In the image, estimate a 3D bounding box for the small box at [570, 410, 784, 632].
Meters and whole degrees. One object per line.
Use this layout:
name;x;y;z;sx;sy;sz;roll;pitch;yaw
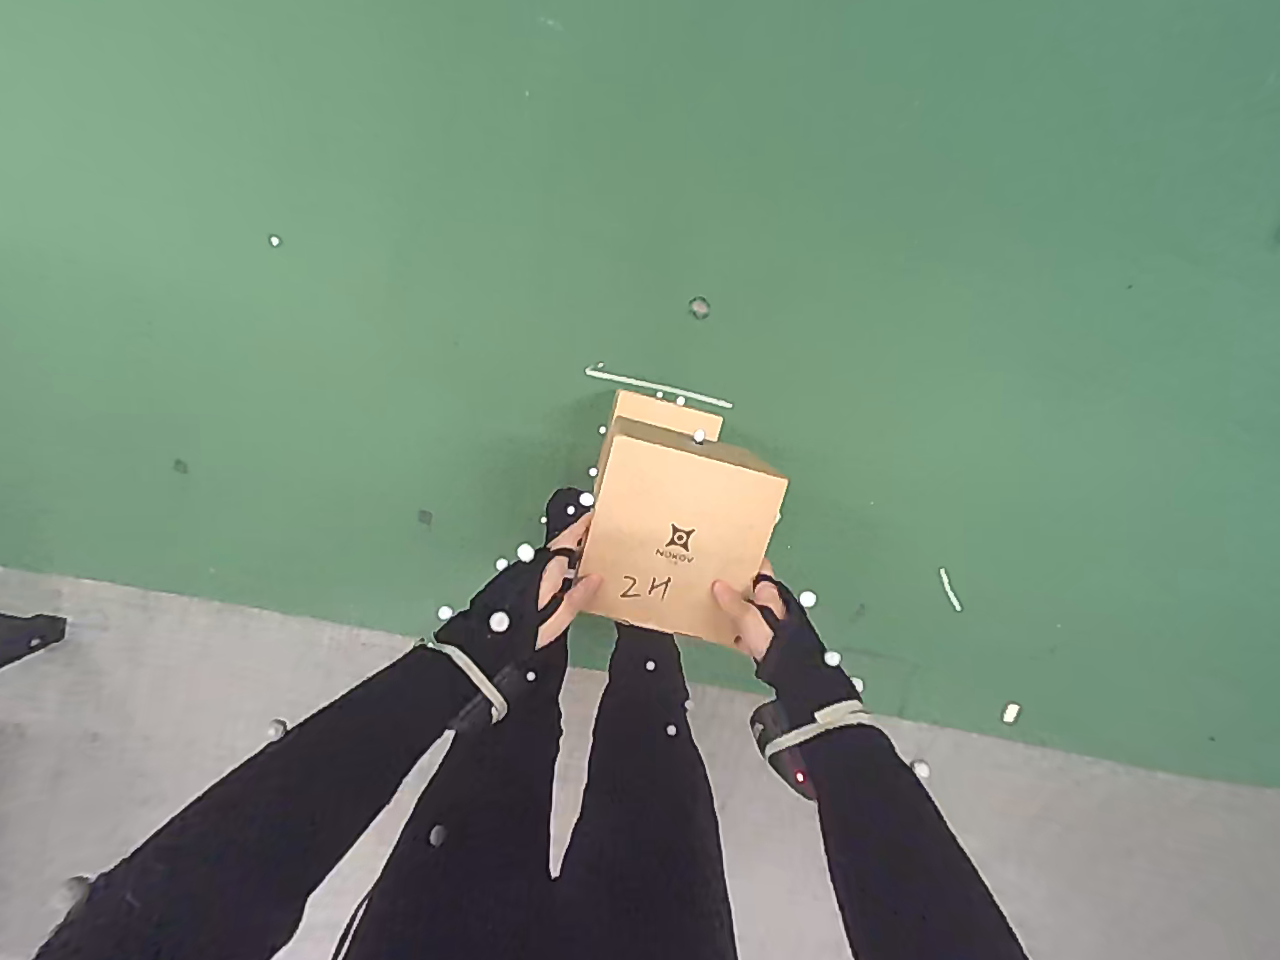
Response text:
small box;0.029;0.030;0.581;0.168;0.176;0.179;15;102;-5

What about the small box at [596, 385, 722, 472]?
small box;0.022;-0.056;0.904;0.168;0.176;0.179;13;99;-6
